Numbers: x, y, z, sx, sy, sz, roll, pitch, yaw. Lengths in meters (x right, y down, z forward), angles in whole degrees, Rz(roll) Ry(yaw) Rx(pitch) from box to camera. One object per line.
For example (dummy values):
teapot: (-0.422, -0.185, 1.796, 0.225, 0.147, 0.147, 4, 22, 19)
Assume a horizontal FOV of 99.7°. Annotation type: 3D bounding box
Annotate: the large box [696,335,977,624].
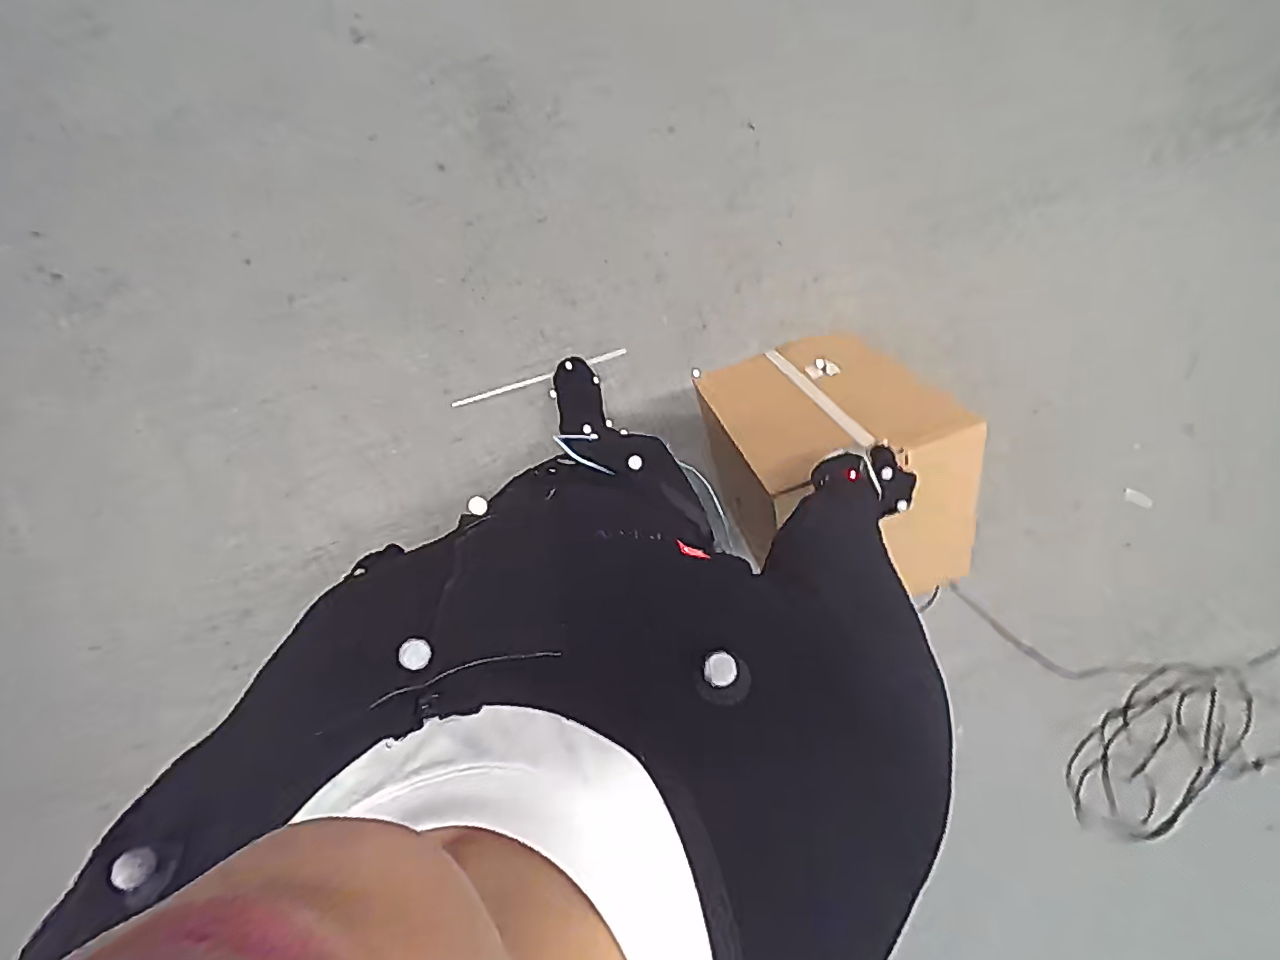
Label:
large box: (0.332, -0.018, 0.993, 0.320, 0.408, 0.320, -18, 124, -1)
